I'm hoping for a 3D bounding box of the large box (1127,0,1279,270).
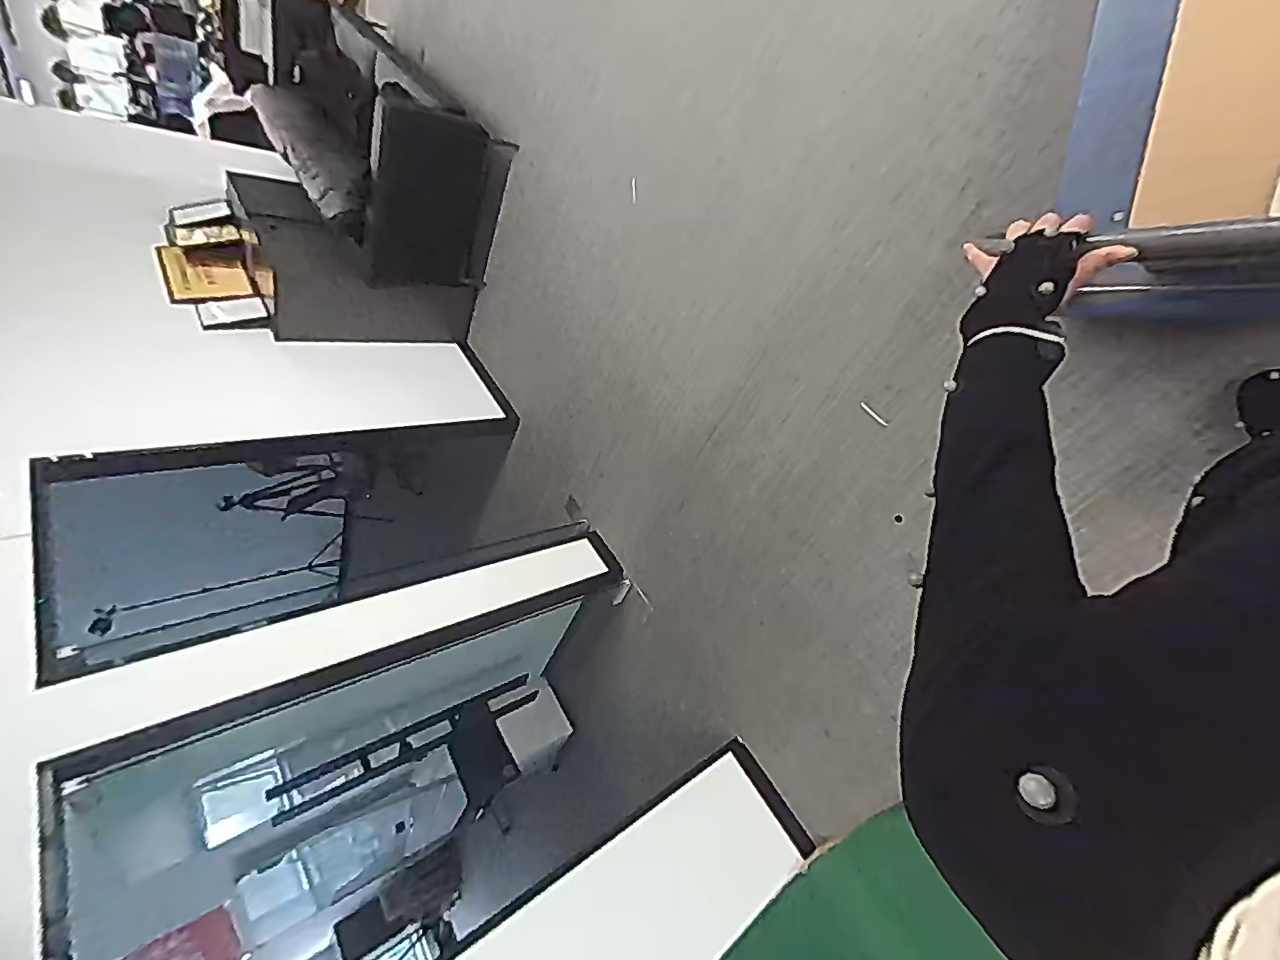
[{"bbox_3d":[0.997,-0.557,0.810,0.320,0.320,0.408,16,109,45],"label":"large box"}]
